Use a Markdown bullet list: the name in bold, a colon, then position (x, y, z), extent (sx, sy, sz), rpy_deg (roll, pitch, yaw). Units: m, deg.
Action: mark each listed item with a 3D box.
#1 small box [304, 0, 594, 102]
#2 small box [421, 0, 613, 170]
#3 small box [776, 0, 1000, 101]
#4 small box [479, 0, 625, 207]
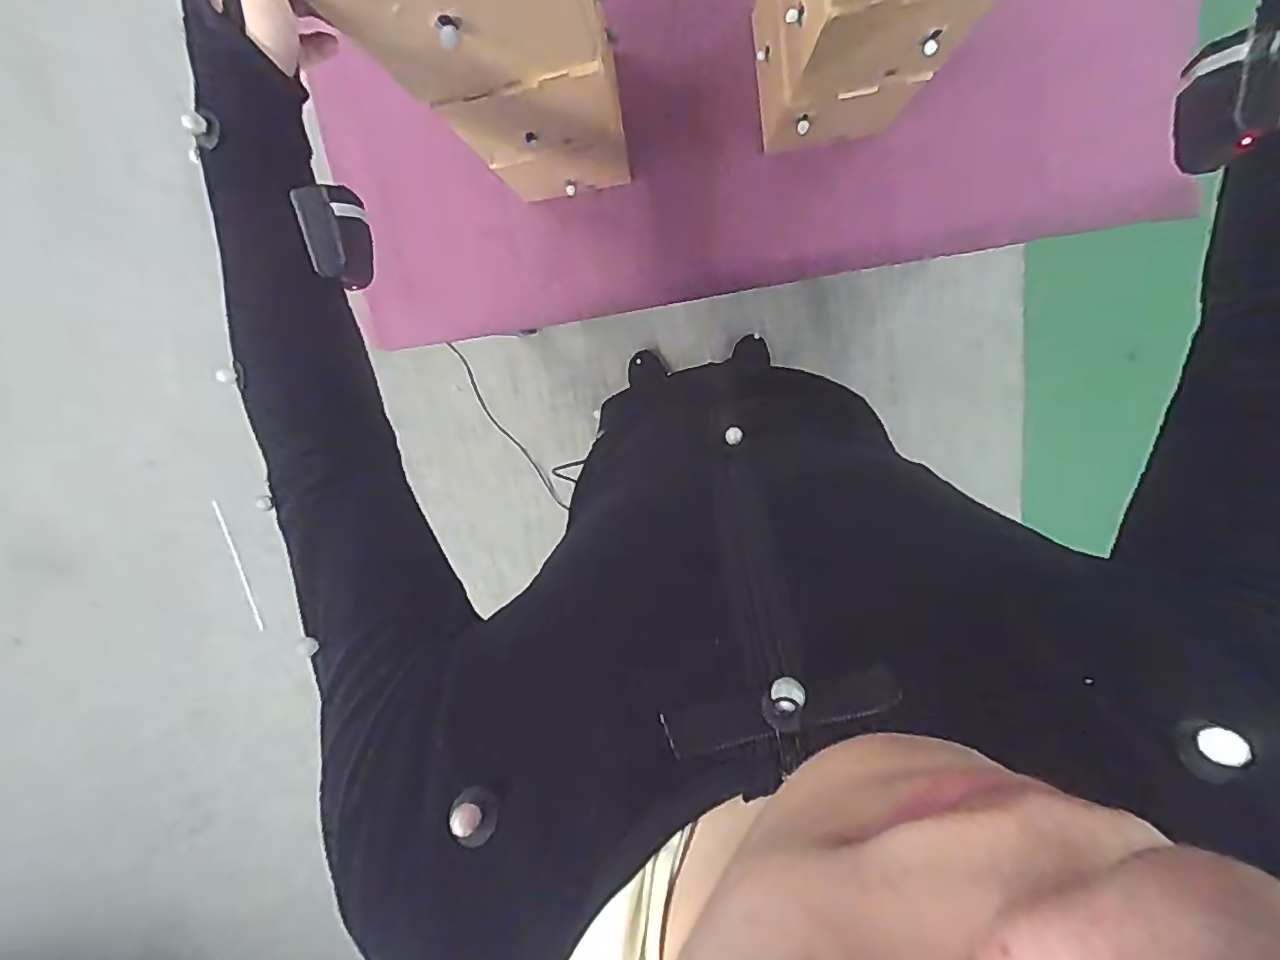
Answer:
- **small box**: position (-0.143, -0.409, 0.388), extent (0.179, 0.176, 0.168), rpy_deg (-9, 103, 7)
- **small box**: position (-0.127, -0.447, 0.547), extent (0.168, 0.176, 0.179), rpy_deg (-9, 103, 6)
- **small box**: position (0.227, -0.494, 0.511), extent (0.168, 0.176, 0.179), rpy_deg (-8, 101, 5)
- **small box**: position (-0.117, -0.482, 0.705), extent (0.168, 0.176, 0.179), rpy_deg (-7, 103, 6)
